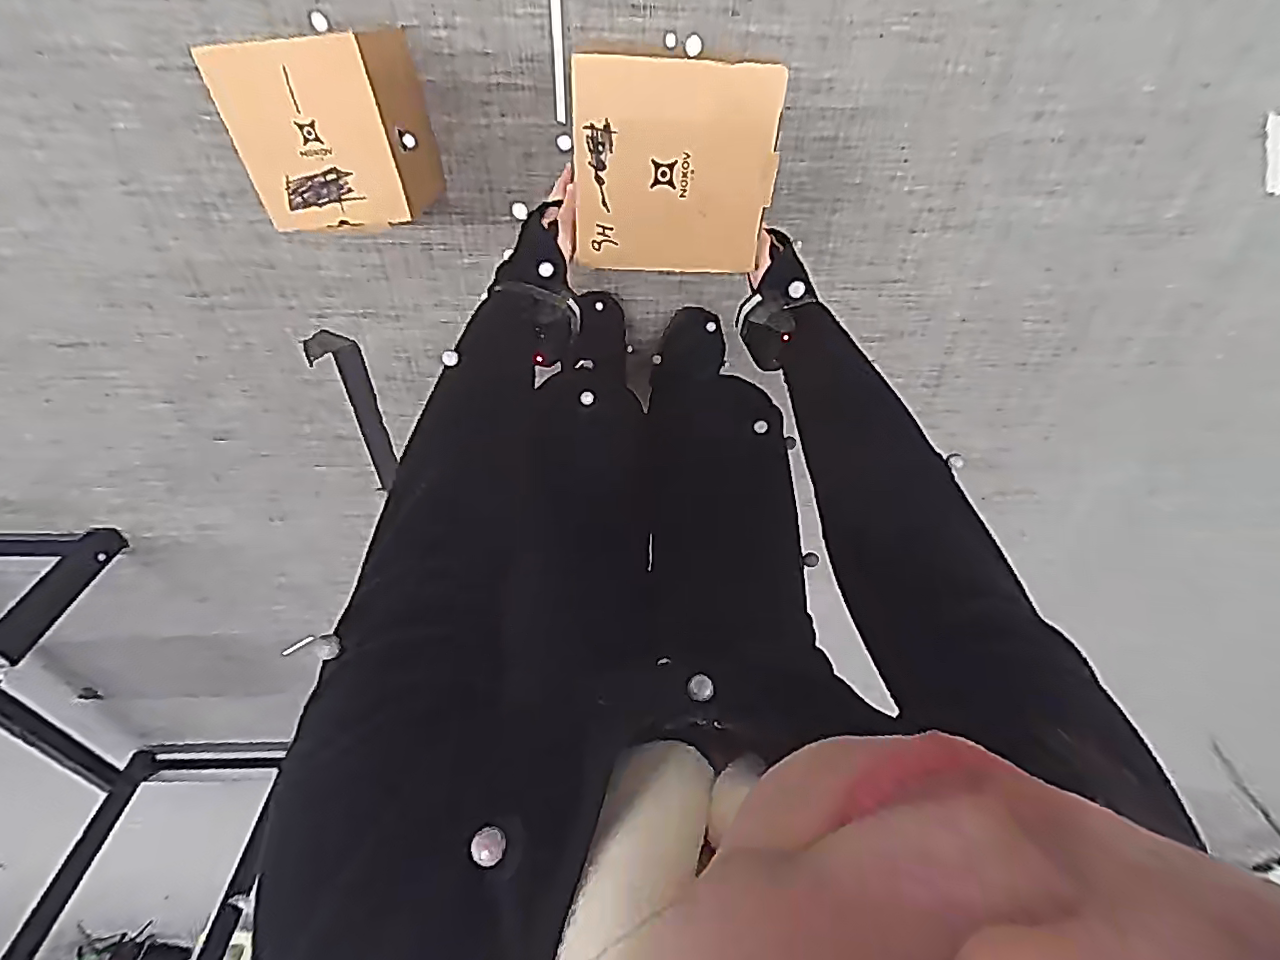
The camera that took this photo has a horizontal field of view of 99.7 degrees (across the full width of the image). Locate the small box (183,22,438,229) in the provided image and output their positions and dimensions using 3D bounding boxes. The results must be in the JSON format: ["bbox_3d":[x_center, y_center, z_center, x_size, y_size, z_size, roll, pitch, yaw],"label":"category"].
[{"bbox_3d":[-0.357,-0.416,0.633,0.168,0.176,0.179,-4,131,1],"label":"small box"}]

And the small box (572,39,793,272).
[{"bbox_3d":[0.024,-0.315,0.525,0.179,0.176,0.168,0,129,-5],"label":"small box"}]
